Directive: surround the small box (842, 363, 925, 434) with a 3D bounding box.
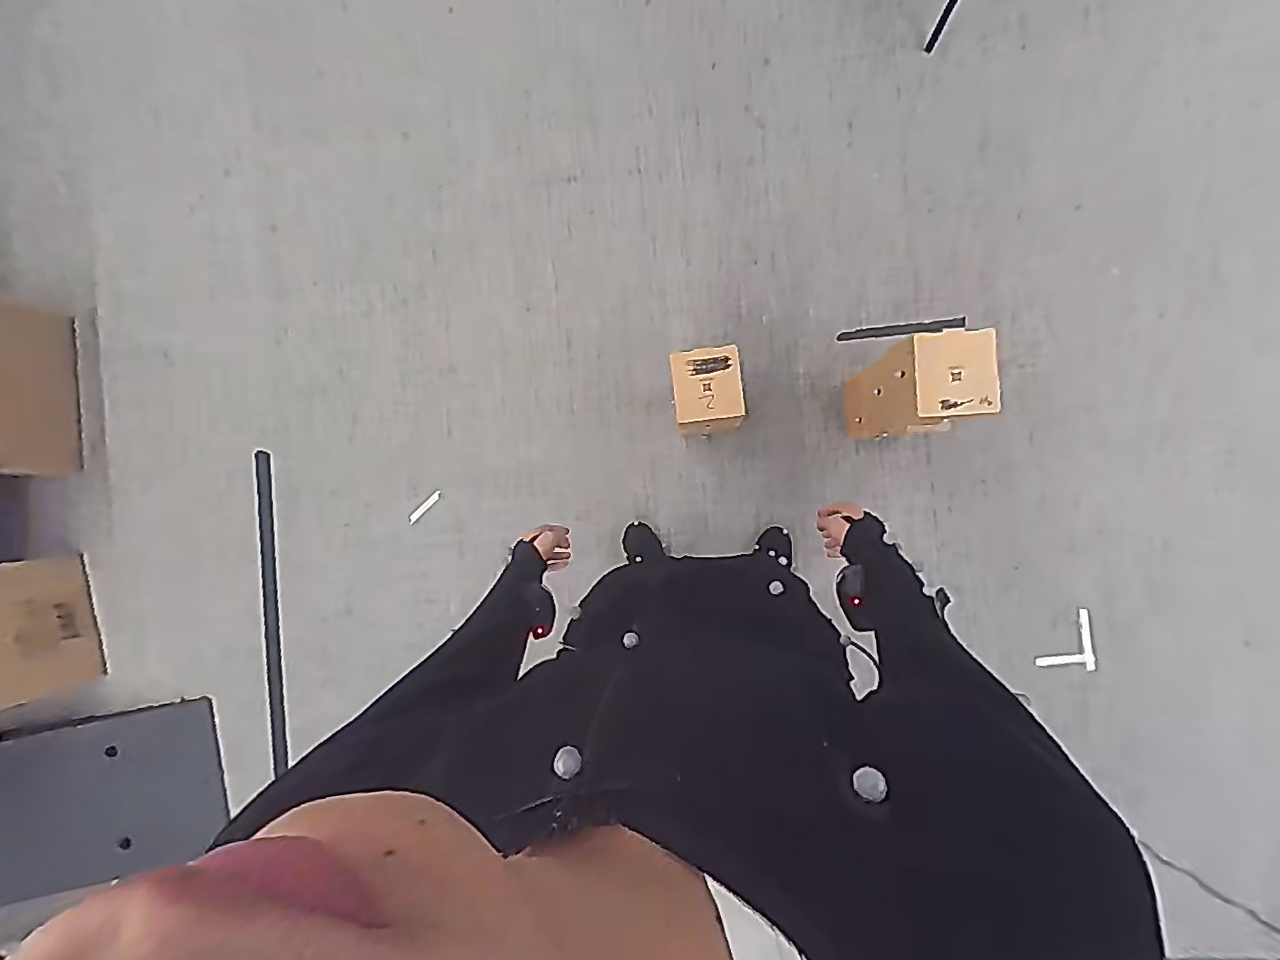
[{"bbox_3d":[0.671,-0.225,1.505,0.168,0.176,0.179,-2,90,4],"label":"small box"}]

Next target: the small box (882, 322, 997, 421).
[{"bbox_3d":[0.642,-0.229,1.178,0.168,0.176,0.179,-3,89,4],"label":"small box"}]

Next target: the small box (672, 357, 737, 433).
[{"bbox_3d":[0.179,-0.238,1.540,0.168,0.176,0.179,-6,89,5],"label":"small box"}]

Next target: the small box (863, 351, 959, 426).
[{"bbox_3d":[0.667,-0.227,1.341,0.168,0.176,0.179,-3,89,3],"label":"small box"}]
